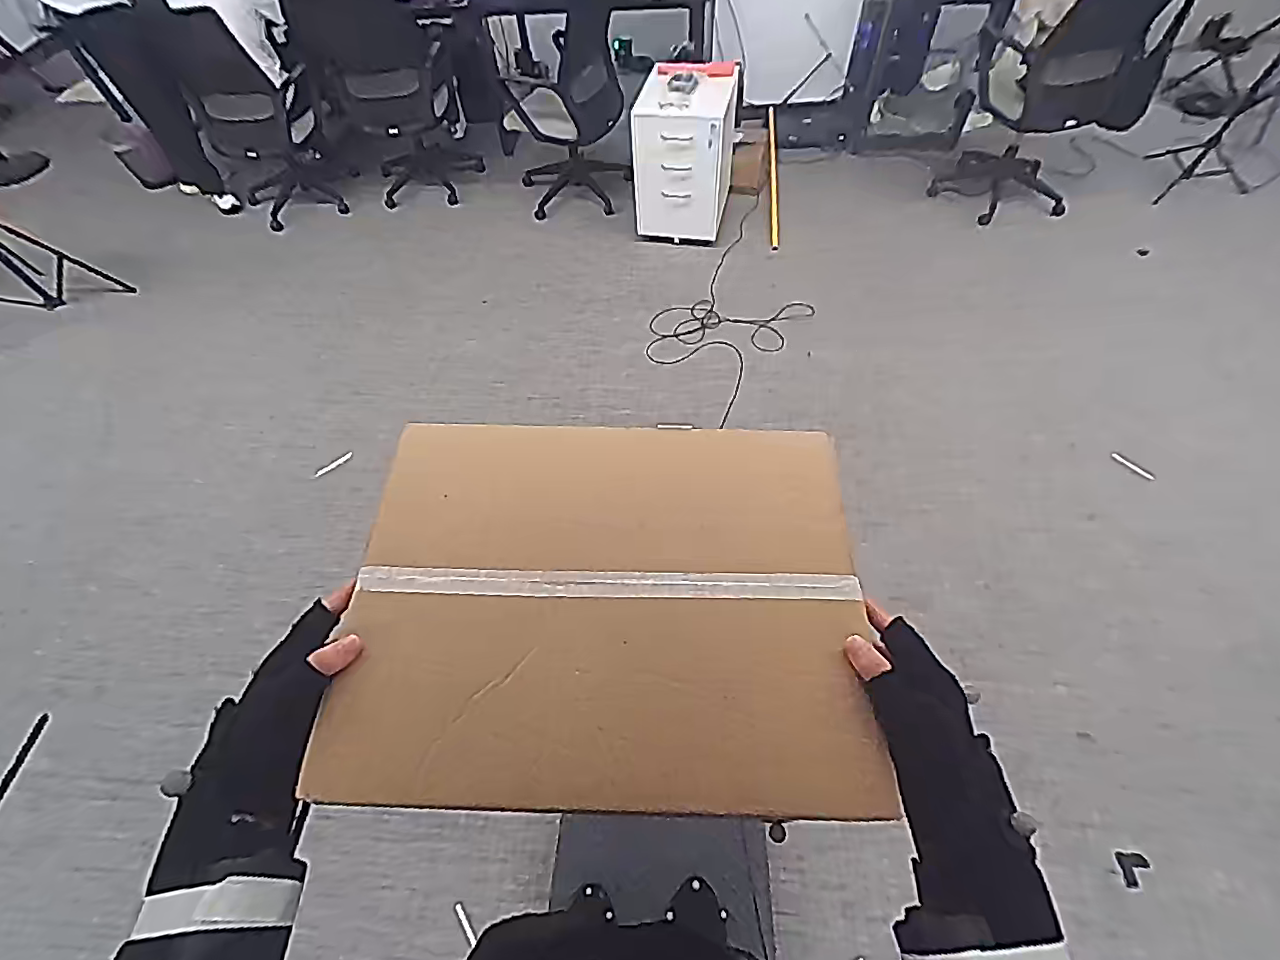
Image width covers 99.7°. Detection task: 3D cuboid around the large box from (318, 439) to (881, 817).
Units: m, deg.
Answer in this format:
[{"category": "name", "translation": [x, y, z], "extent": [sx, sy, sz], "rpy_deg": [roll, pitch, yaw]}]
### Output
[{"category": "large box", "translation": [-0.025, 0.167, 0.578], "extent": [0.408, 0.320, 0.320], "rpy_deg": [1, 59, 1]}]
